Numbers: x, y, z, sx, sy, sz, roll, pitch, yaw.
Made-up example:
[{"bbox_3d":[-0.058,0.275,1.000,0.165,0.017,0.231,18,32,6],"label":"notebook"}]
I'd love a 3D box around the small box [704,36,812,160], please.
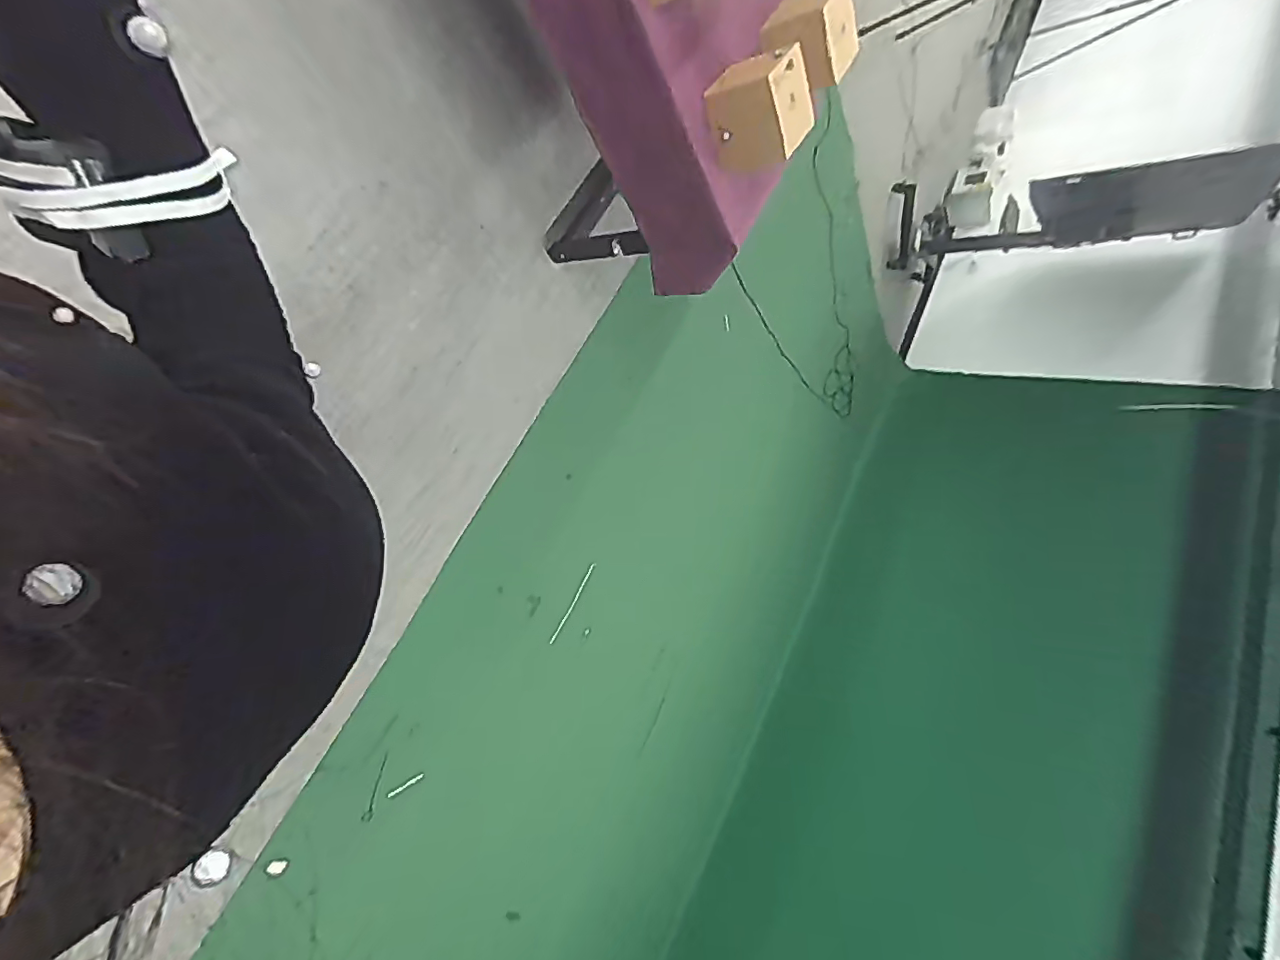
[{"bbox_3d":[0.273,-0.867,1.246,0.168,0.176,0.179,-57,138,-24],"label":"small box"}]

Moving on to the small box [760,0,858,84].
[{"bbox_3d":[0.423,-1.120,1.354,0.179,0.176,0.168,-58,138,-20],"label":"small box"}]
